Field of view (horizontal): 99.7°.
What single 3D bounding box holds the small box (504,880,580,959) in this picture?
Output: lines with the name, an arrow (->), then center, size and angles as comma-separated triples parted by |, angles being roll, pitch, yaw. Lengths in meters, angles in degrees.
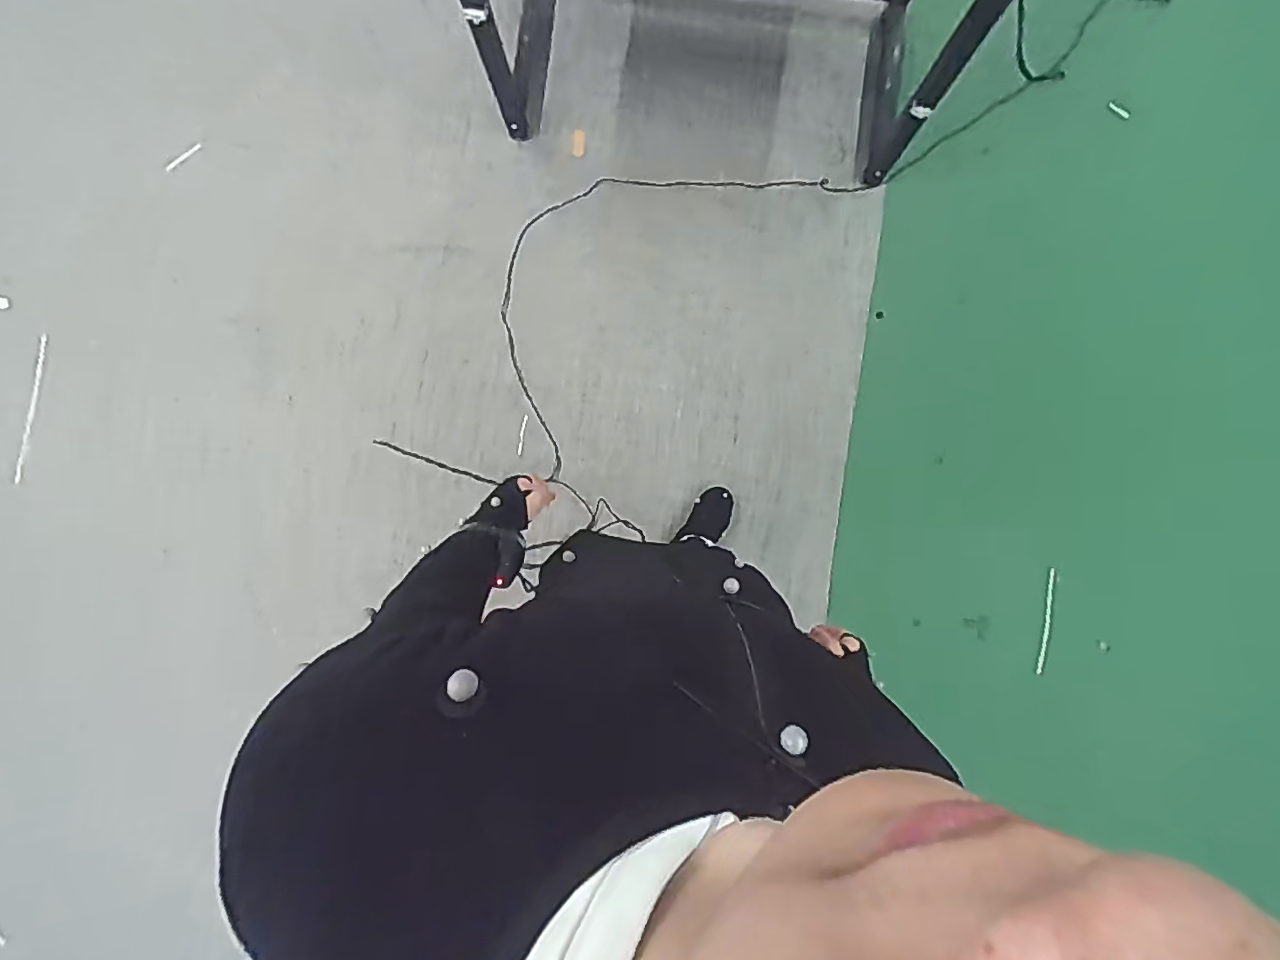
small box -> -0.259, 1.212, 1.433 | 0.168, 0.176, 0.179 | 11, 88, 1
